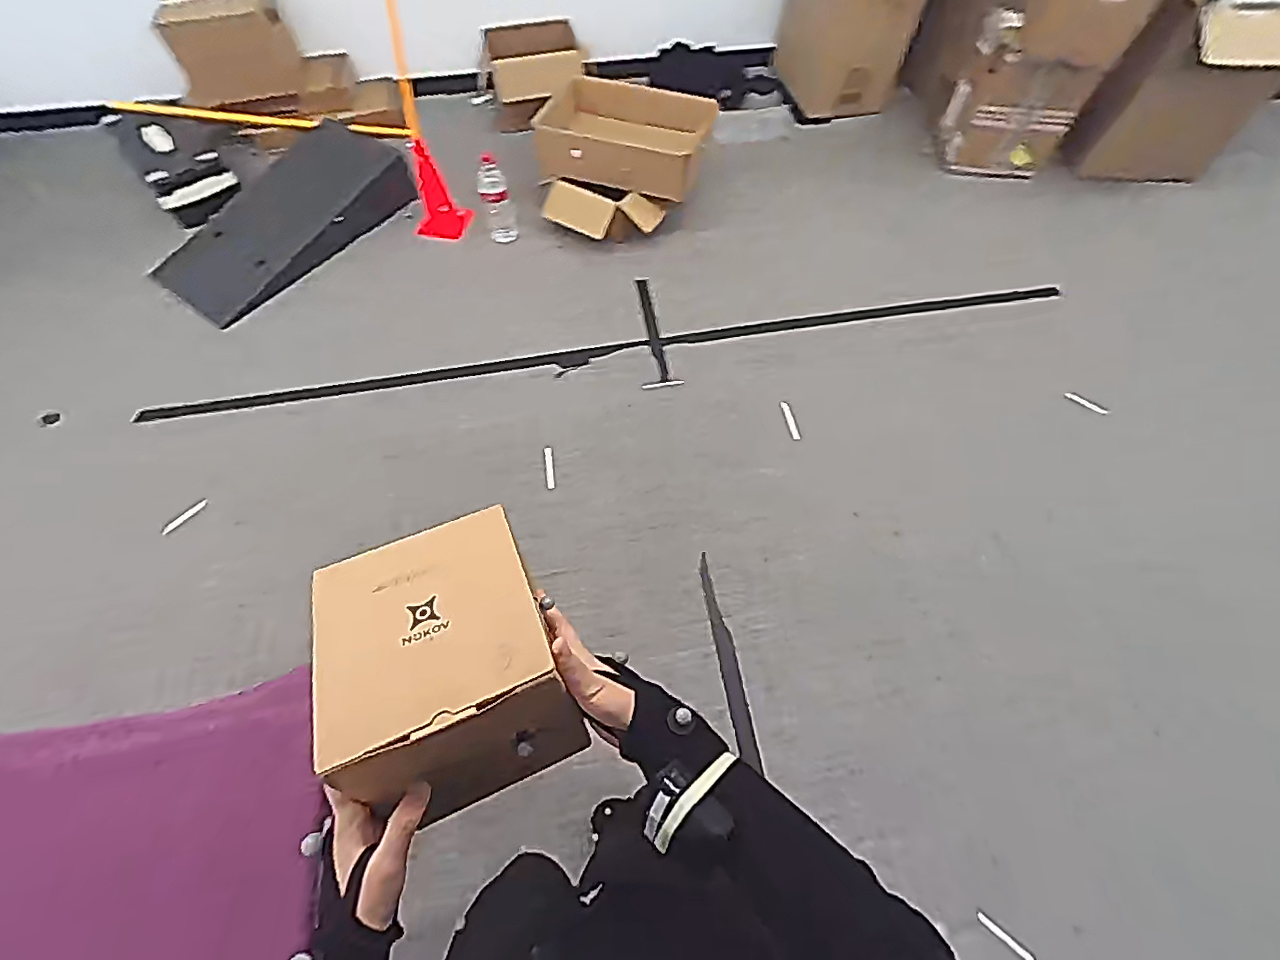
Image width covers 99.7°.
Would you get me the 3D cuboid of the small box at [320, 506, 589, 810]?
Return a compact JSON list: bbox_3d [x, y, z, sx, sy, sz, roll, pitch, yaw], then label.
[{"bbox_3d":[-0.153,0.159,0.473,0.168,0.176,0.179,-20,48,-13],"label":"small box"}]
